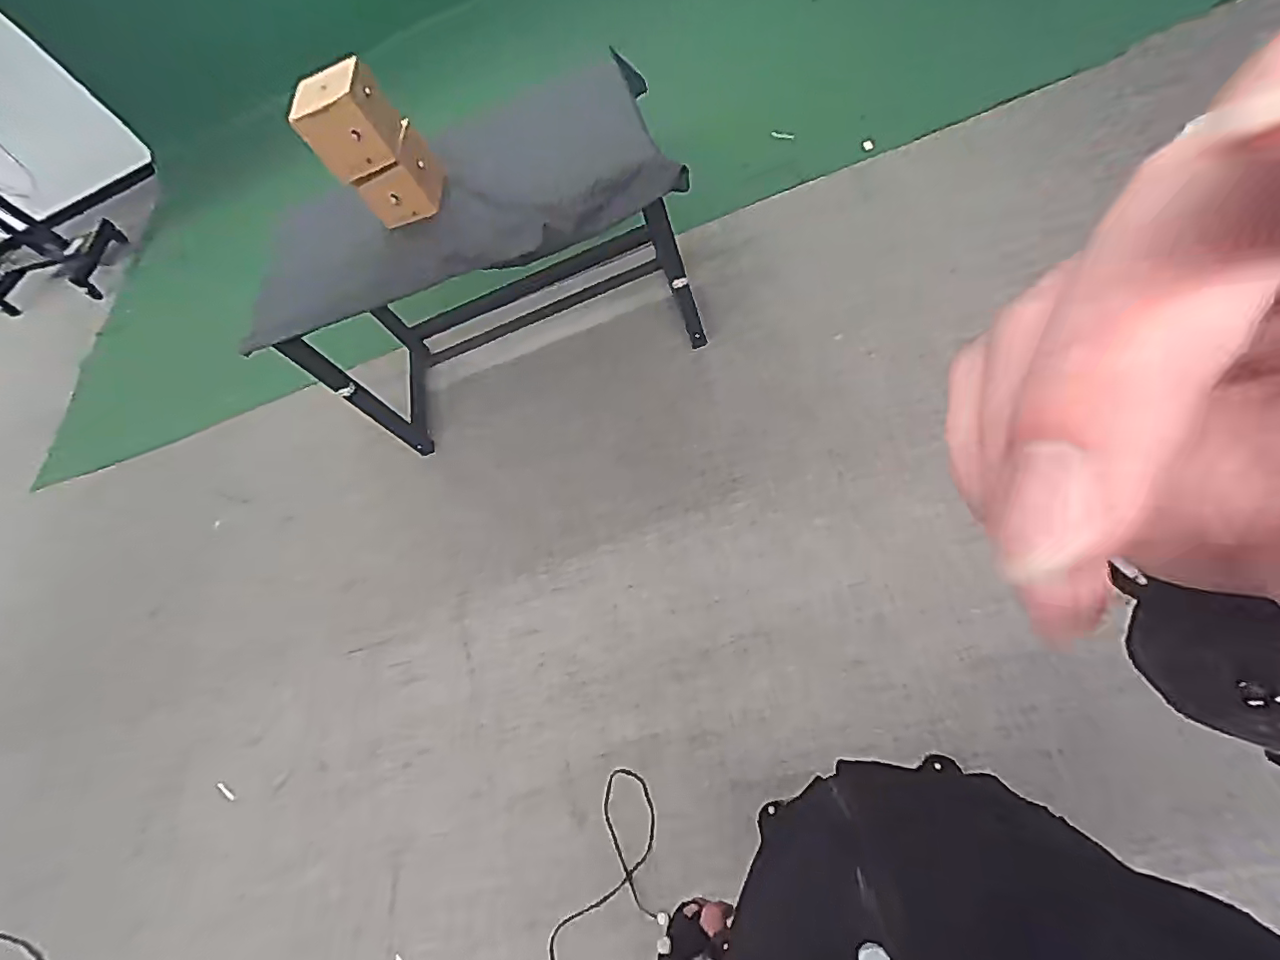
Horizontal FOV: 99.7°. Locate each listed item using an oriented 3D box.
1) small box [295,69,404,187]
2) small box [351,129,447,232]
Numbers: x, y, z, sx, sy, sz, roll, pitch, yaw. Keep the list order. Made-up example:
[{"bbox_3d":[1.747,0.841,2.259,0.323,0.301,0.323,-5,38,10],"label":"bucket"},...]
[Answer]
[{"bbox_3d":[-0.711,-0.863,1.346,0.168,0.176,0.179,-15,60,10],"label":"small box"},{"bbox_3d":[-0.656,-0.815,1.493,0.168,0.176,0.179,-10,62,14],"label":"small box"}]
